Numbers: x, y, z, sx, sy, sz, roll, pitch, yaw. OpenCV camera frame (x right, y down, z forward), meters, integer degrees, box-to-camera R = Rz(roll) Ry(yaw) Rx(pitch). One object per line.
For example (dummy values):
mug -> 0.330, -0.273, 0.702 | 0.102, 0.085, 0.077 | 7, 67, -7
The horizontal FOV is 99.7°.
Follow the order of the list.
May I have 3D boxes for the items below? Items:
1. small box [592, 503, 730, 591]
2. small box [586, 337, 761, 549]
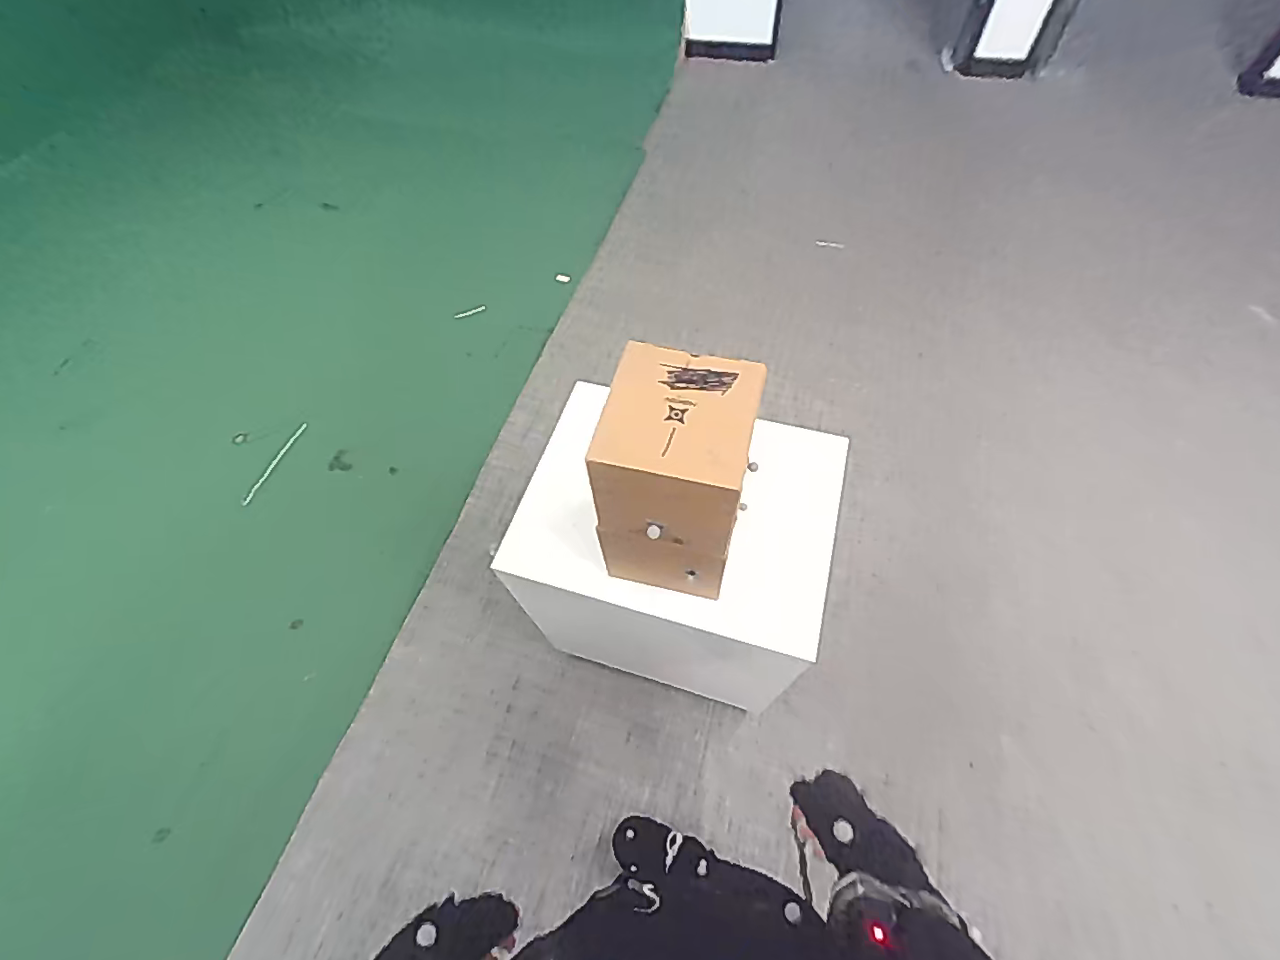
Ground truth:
small box -> 0.047, 0.048, 0.786 | 0.179, 0.176, 0.168 | 10, 60, 11
small box -> 0.043, -0.041, 0.648 | 0.168, 0.176, 0.179 | 9, 59, 9
